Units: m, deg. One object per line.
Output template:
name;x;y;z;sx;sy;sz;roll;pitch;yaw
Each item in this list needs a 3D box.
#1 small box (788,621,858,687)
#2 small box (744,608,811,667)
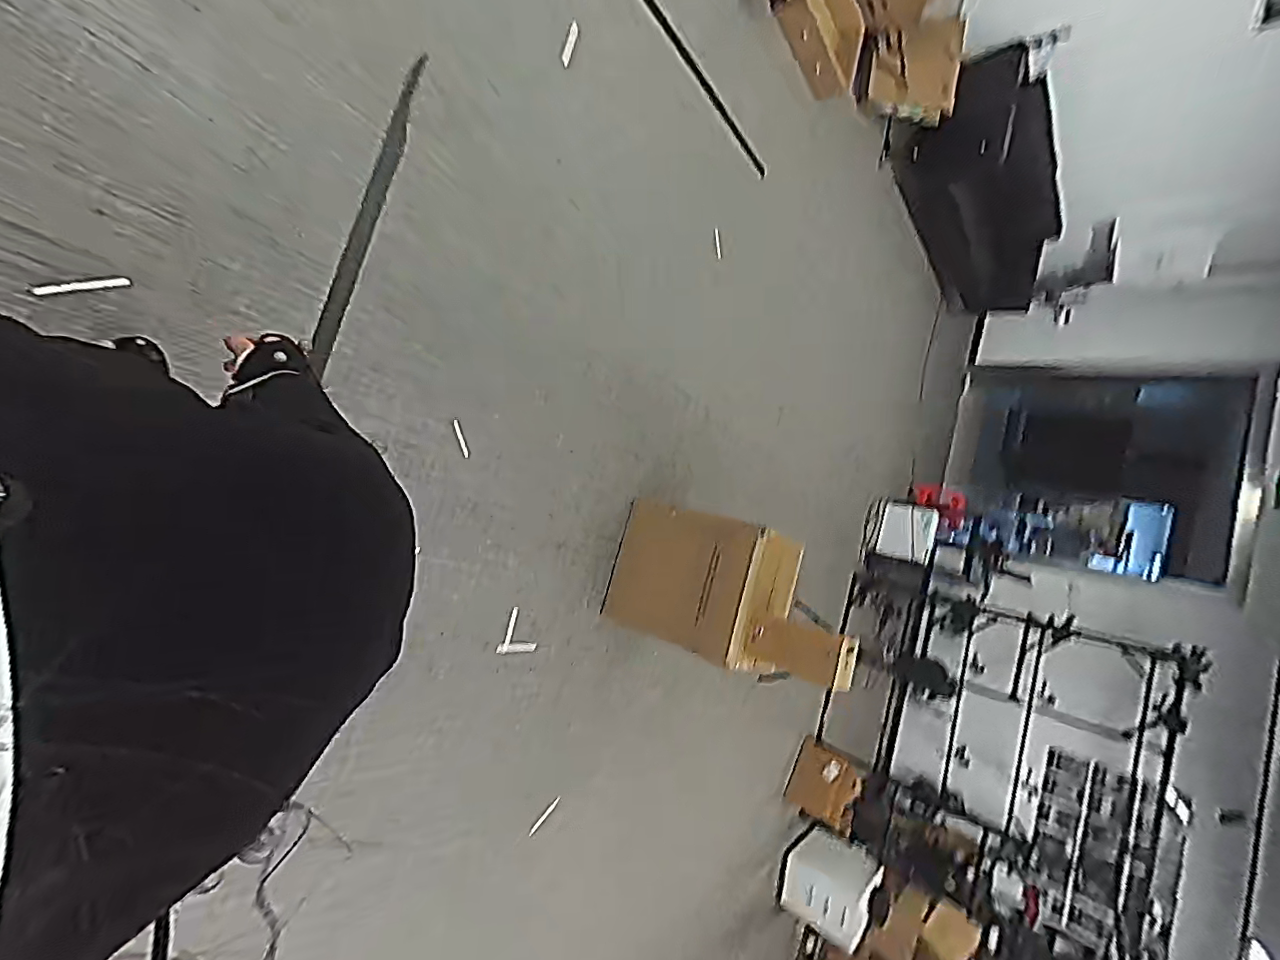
small box;0.622;0.589;1.846;0.168;0.176;0.179;22;80;-48
small box;0.502;0.568;1.956;0.179;0.176;0.168;22;79;-47
